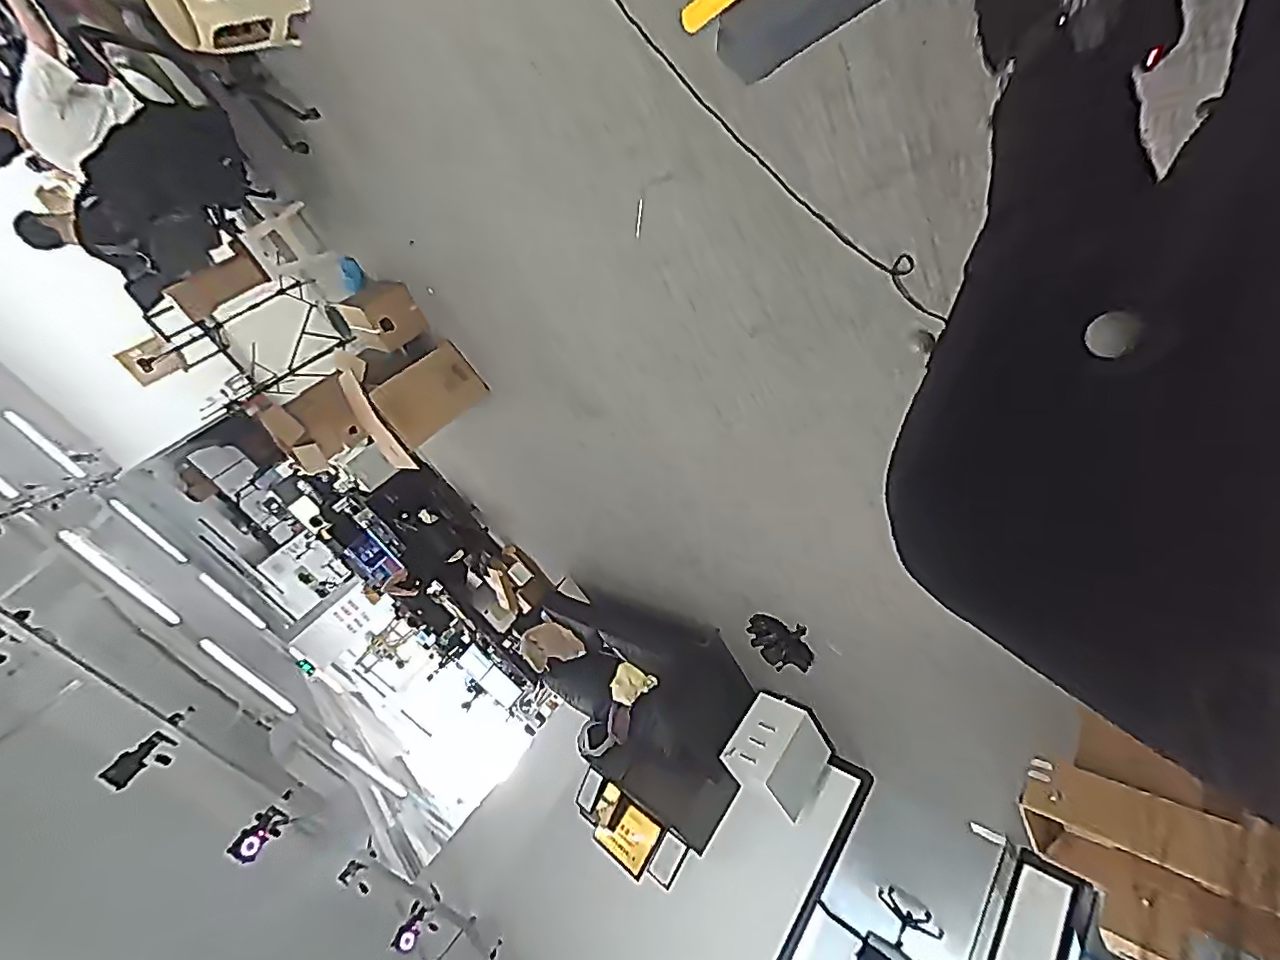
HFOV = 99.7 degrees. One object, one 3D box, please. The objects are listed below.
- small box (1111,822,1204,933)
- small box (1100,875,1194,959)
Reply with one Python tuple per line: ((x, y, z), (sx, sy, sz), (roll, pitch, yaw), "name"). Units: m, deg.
((1.515, 1.153, 1.581), (0.168, 0.176, 0.179), (-2, 129, 53), "small box")
((1.416, 1.262, 1.508), (0.168, 0.176, 0.179), (0, 130, 51), "small box")
